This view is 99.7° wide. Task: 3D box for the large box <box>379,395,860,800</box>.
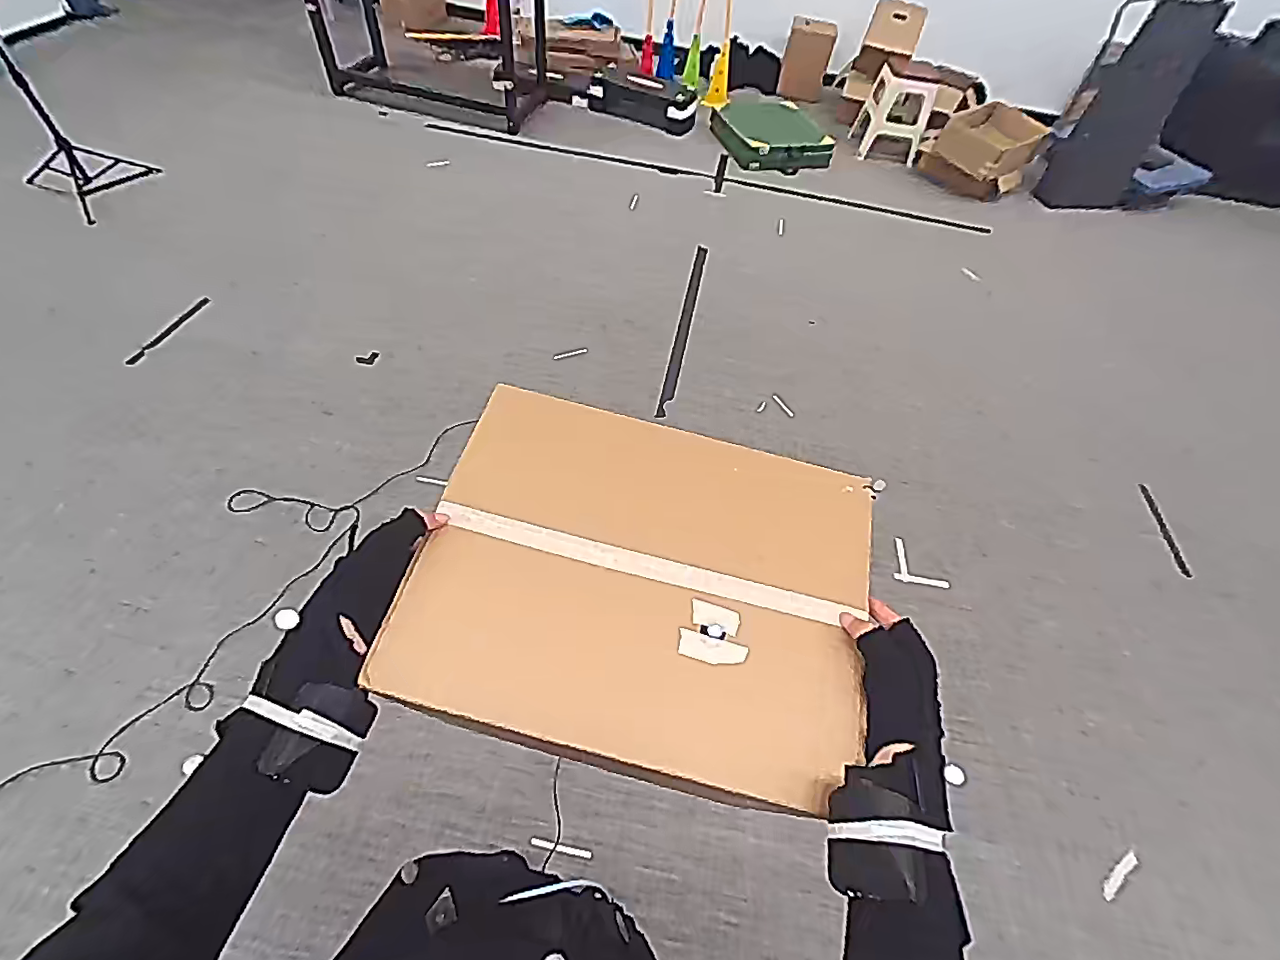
[{"bbox_3d":[-0.008,0.152,0.636,0.408,0.320,0.320,15,62,1],"label":"large box"}]
